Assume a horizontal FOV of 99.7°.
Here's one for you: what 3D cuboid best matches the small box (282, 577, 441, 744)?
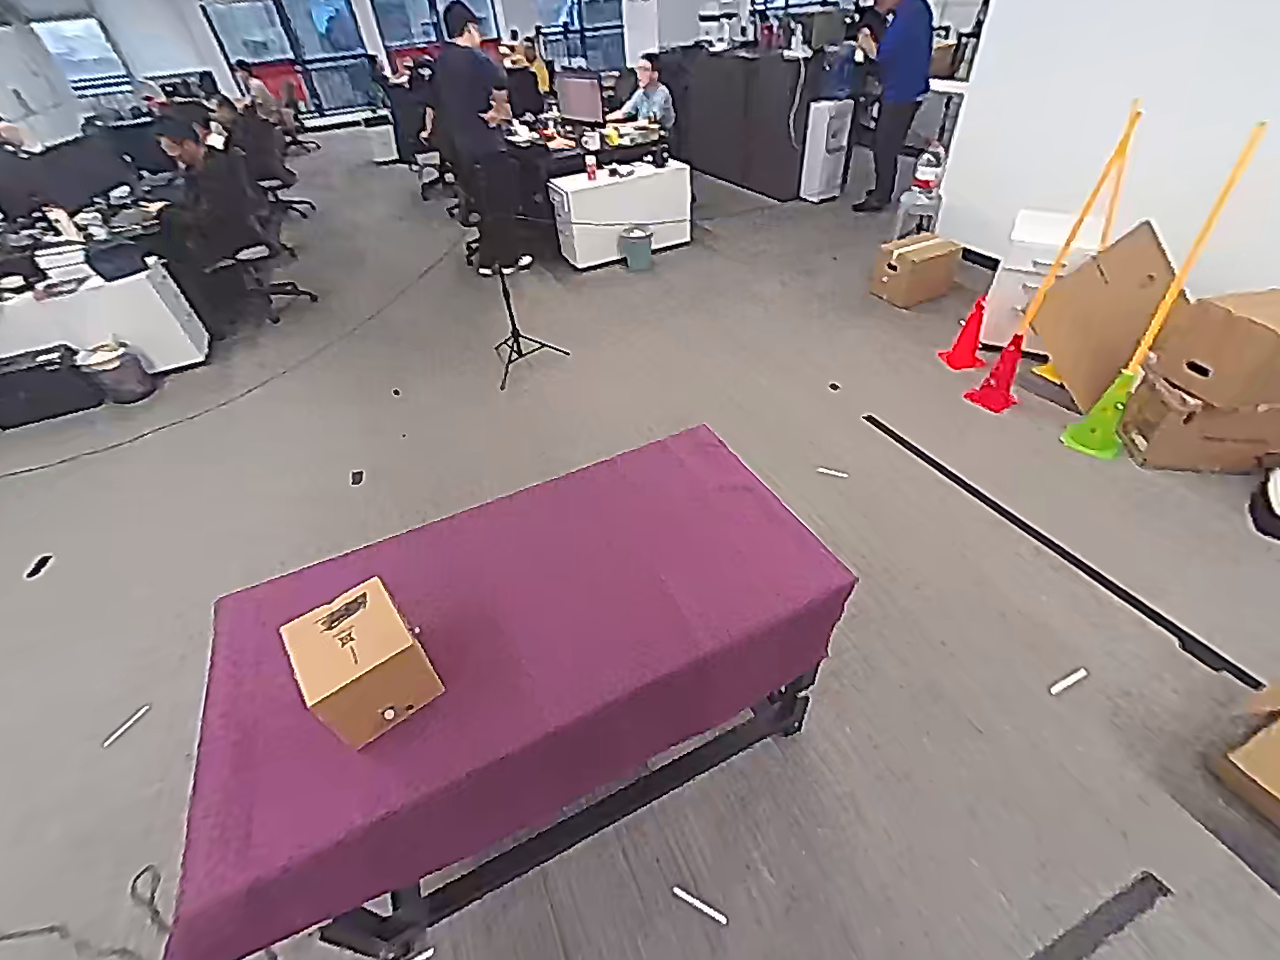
[{"bbox_3d":[-0.470,0.308,0.925,0.168,0.176,0.179,-31,49,-25],"label":"small box"}]
